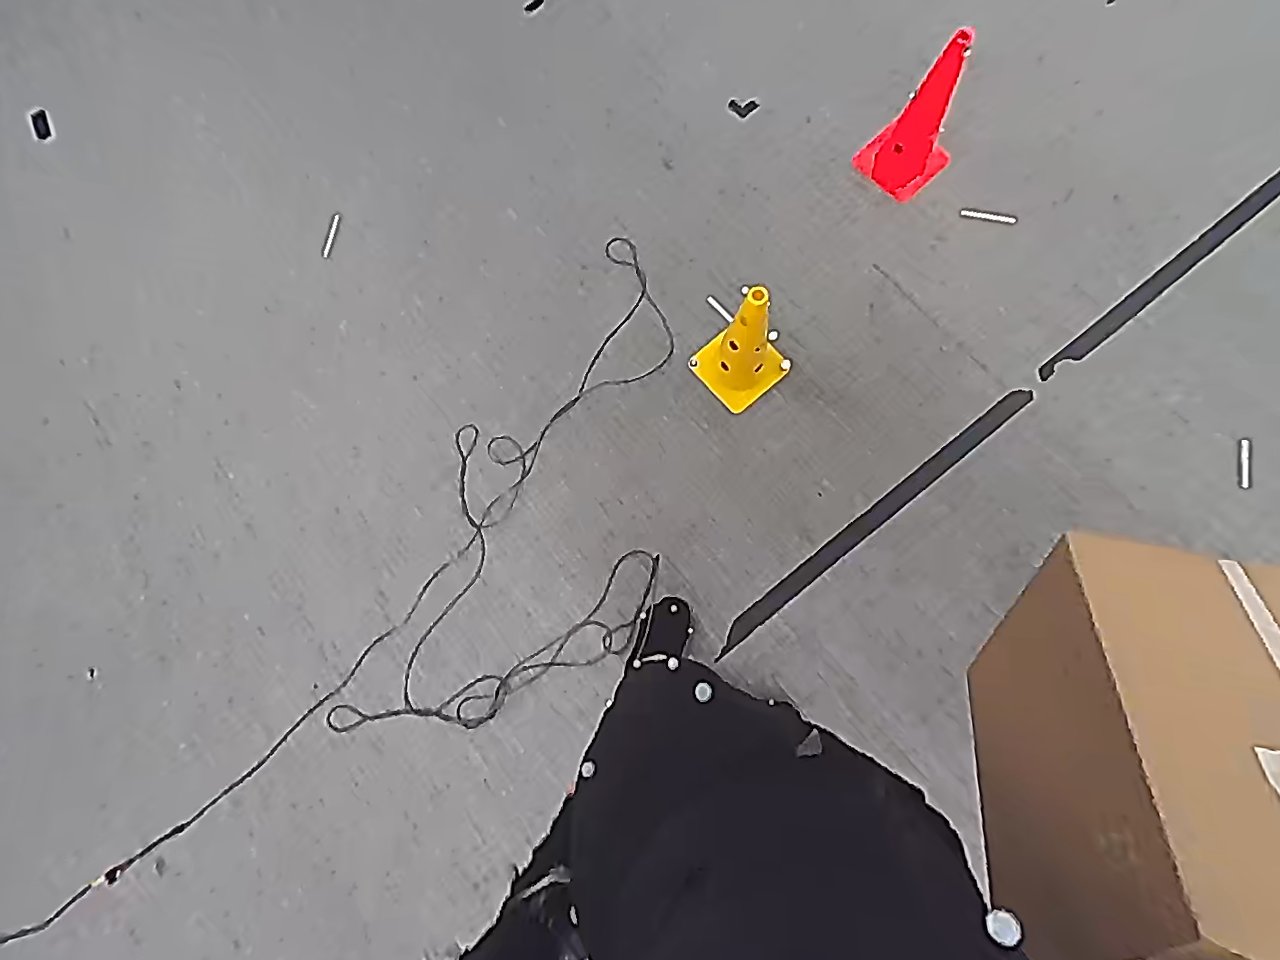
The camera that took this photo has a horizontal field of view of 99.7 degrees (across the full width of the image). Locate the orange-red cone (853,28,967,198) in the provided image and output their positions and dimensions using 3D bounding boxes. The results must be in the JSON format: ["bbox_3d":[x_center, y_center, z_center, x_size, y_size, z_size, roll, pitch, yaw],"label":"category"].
[{"bbox_3d":[0.703,-0.921,1.332,0.199,0.360,0.198,-42,78,-3],"label":"orange-red cone"}]

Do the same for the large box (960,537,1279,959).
[{"bbox_3d":[0.576,0.333,0.566,0.320,0.320,0.408,12,43,15],"label":"large box"}]
